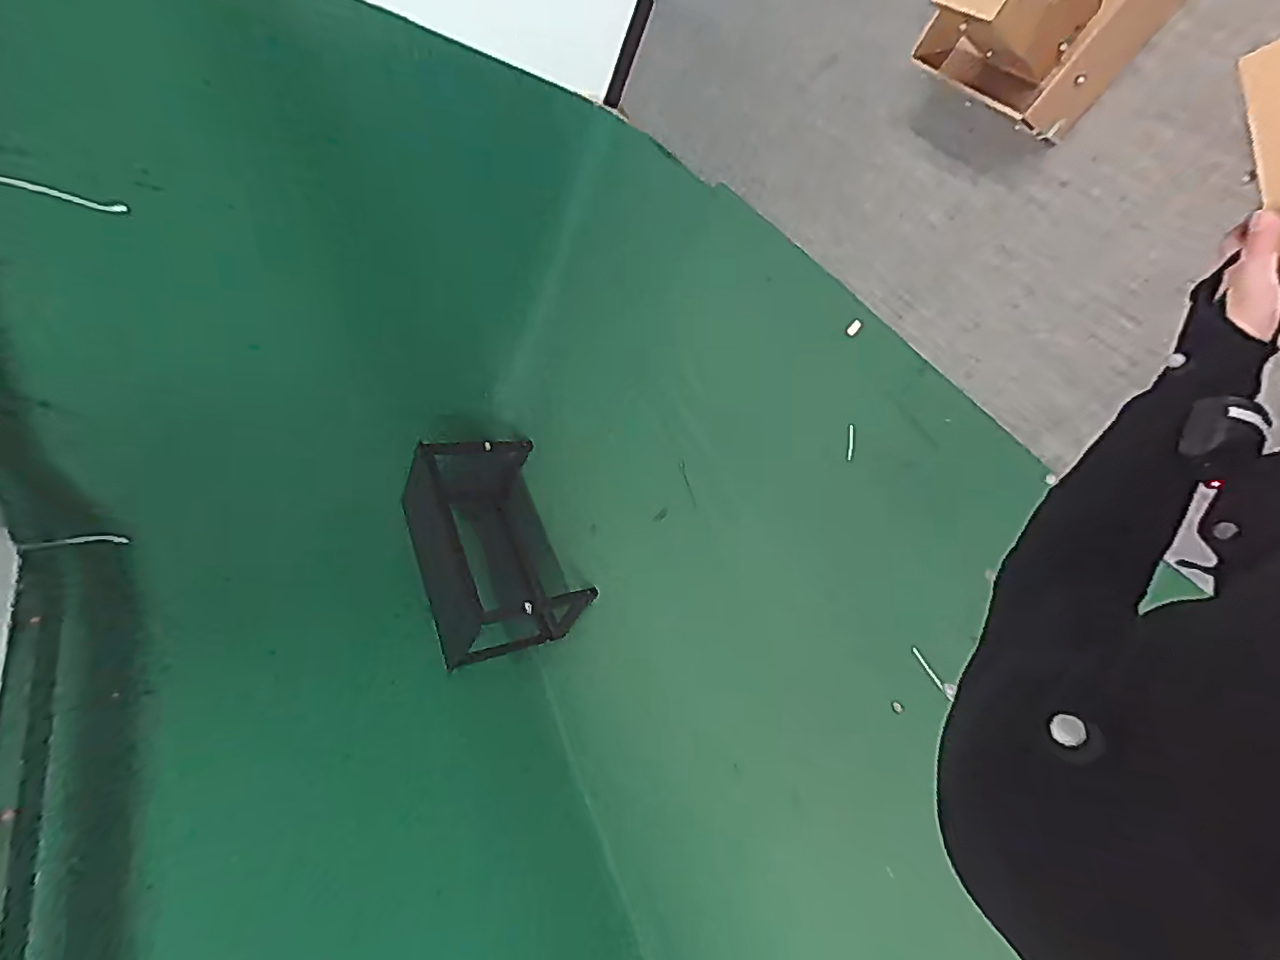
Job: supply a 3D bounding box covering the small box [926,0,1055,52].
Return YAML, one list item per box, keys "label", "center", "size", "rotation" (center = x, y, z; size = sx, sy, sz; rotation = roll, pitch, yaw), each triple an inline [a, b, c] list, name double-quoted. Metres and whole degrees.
- label: "small box"
  center: [0.764, -1.055, 1.149]
  size: [0.179, 0.176, 0.168]
  rotation: [57, 135, 32]

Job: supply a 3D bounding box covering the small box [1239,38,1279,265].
- label: "small box"
  center: [0.626, -0.286, 0.436]
  size: [0.168, 0.176, 0.179]
  rotation: [-10, 88, 52]
